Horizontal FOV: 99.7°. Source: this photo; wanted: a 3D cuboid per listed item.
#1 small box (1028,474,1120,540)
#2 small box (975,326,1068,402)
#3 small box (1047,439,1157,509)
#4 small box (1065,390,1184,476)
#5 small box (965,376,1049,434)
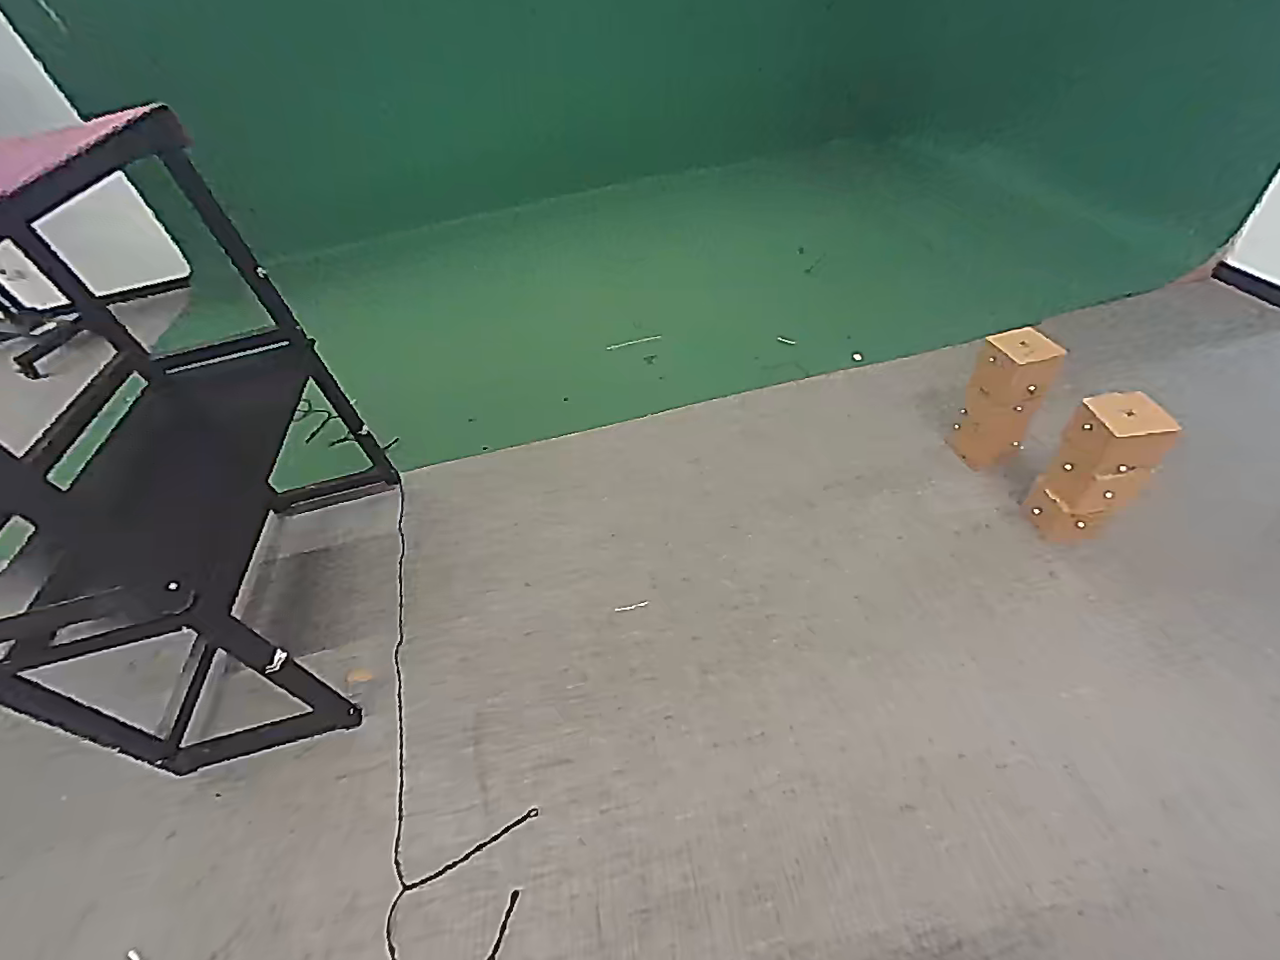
[{"bbox_3d":[1.439,0.083,1.805,0.179,0.176,0.168,-9,46,5],"label":"small box"},{"bbox_3d":[1.280,-0.393,1.833,0.168,0.176,0.179,-14,46,-2],"label":"small box"},{"bbox_3d":[1.424,-0.023,1.682,0.168,0.176,0.179,-9,46,3],"label":"small box"},{"bbox_3d":[1.389,-0.135,1.569,0.168,0.176,0.179,-7,46,7],"label":"small box"},{"bbox_3d":[1.314,-0.287,1.956,0.179,0.176,0.168,-14,46,-3],"label":"small box"}]
